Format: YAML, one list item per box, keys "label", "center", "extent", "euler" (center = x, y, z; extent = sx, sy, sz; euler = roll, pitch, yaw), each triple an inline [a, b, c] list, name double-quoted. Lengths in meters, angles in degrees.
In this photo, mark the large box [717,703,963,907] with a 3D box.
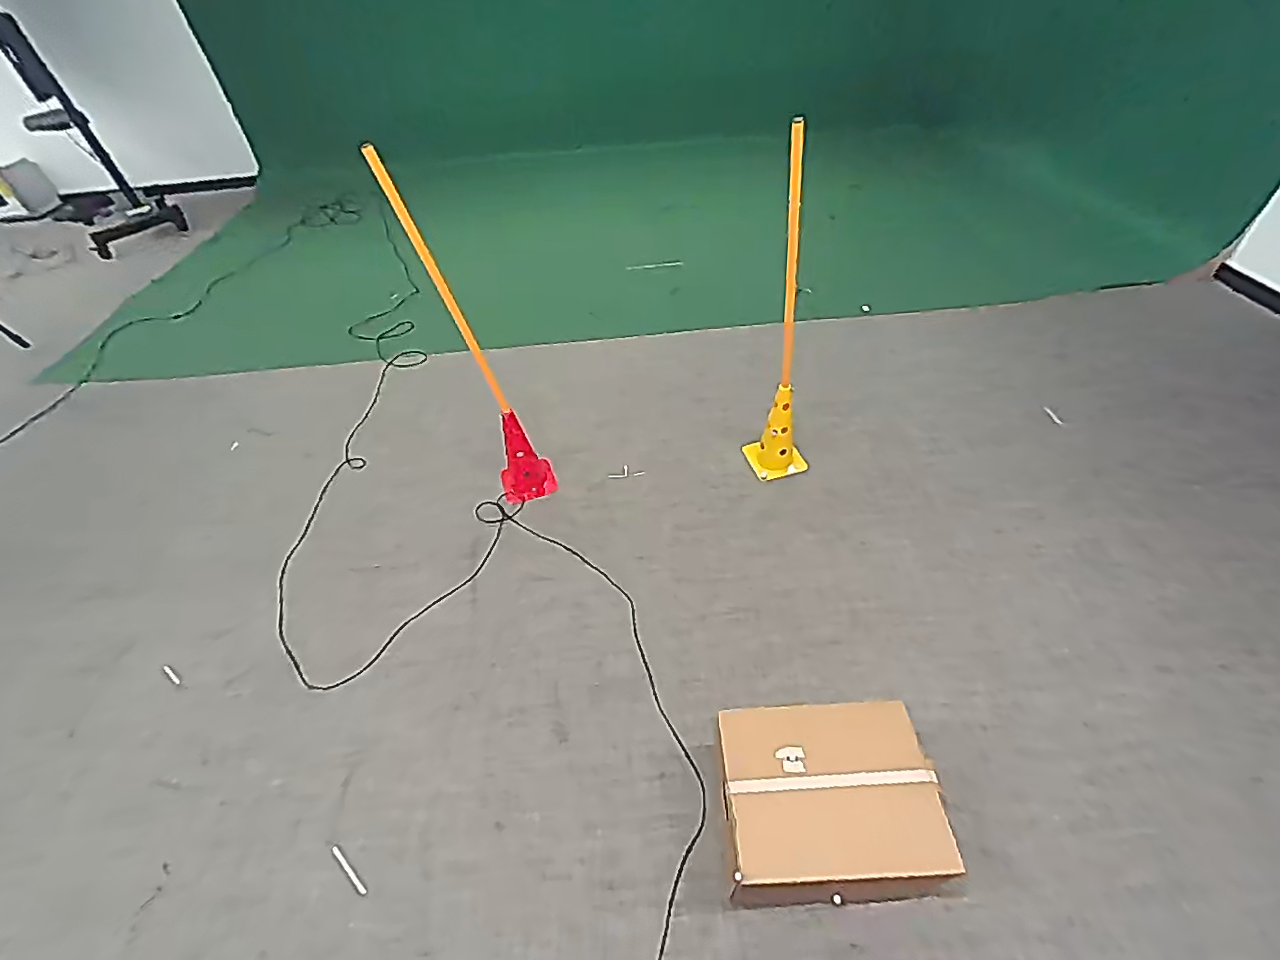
- label: "large box"
  center: [0.390, 0.714, 1.181]
  extent: [0.408, 0.320, 0.320]
  euler: [-5, 45, 2]
